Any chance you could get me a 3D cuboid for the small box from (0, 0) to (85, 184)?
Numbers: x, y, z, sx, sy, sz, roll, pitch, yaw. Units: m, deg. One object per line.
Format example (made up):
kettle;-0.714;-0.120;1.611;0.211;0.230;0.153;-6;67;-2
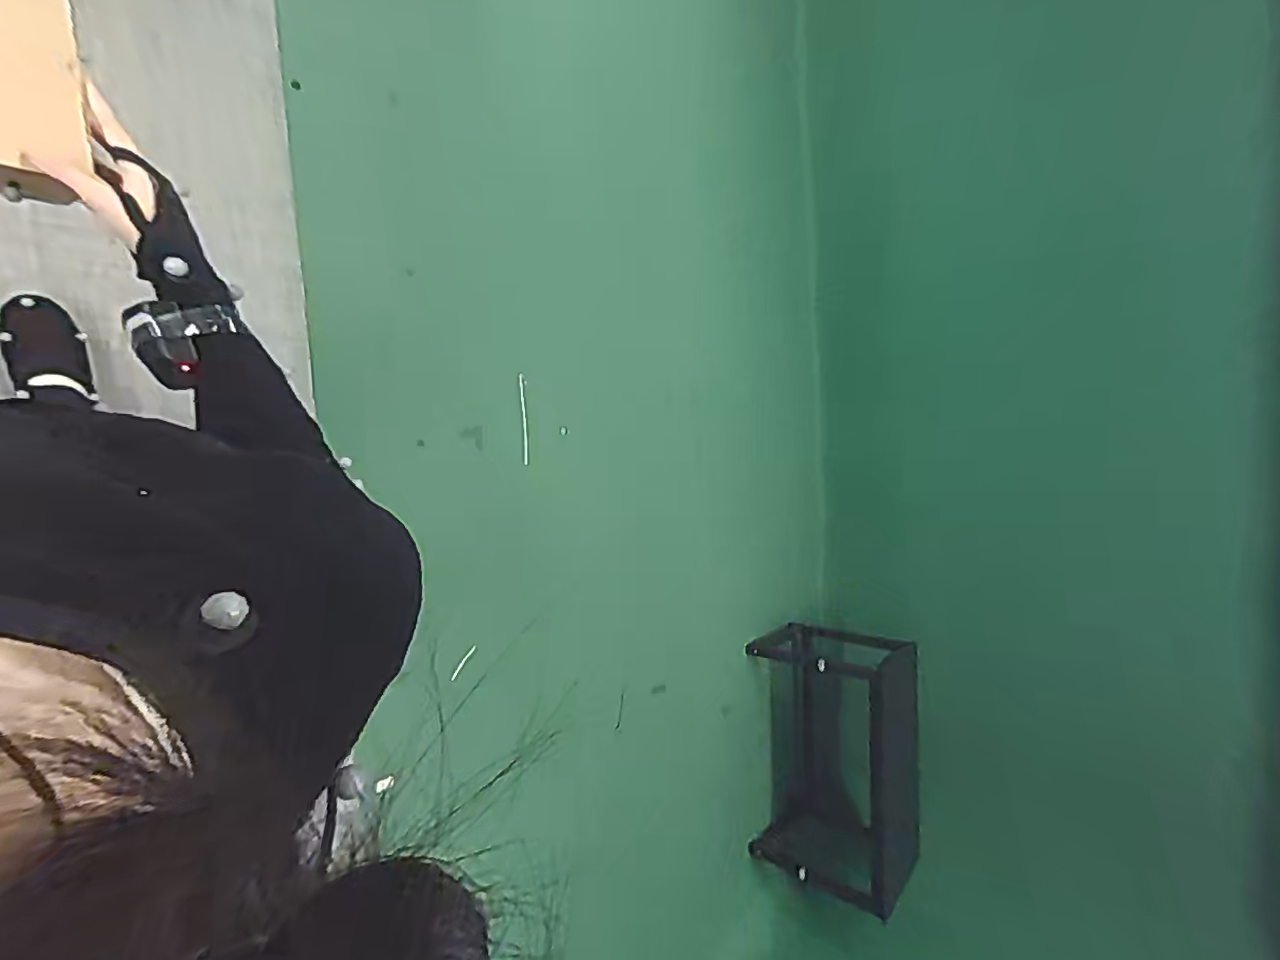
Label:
small box;-0.551;-0.335;0.396;0.179;0.176;0.168;-9;107;-50
